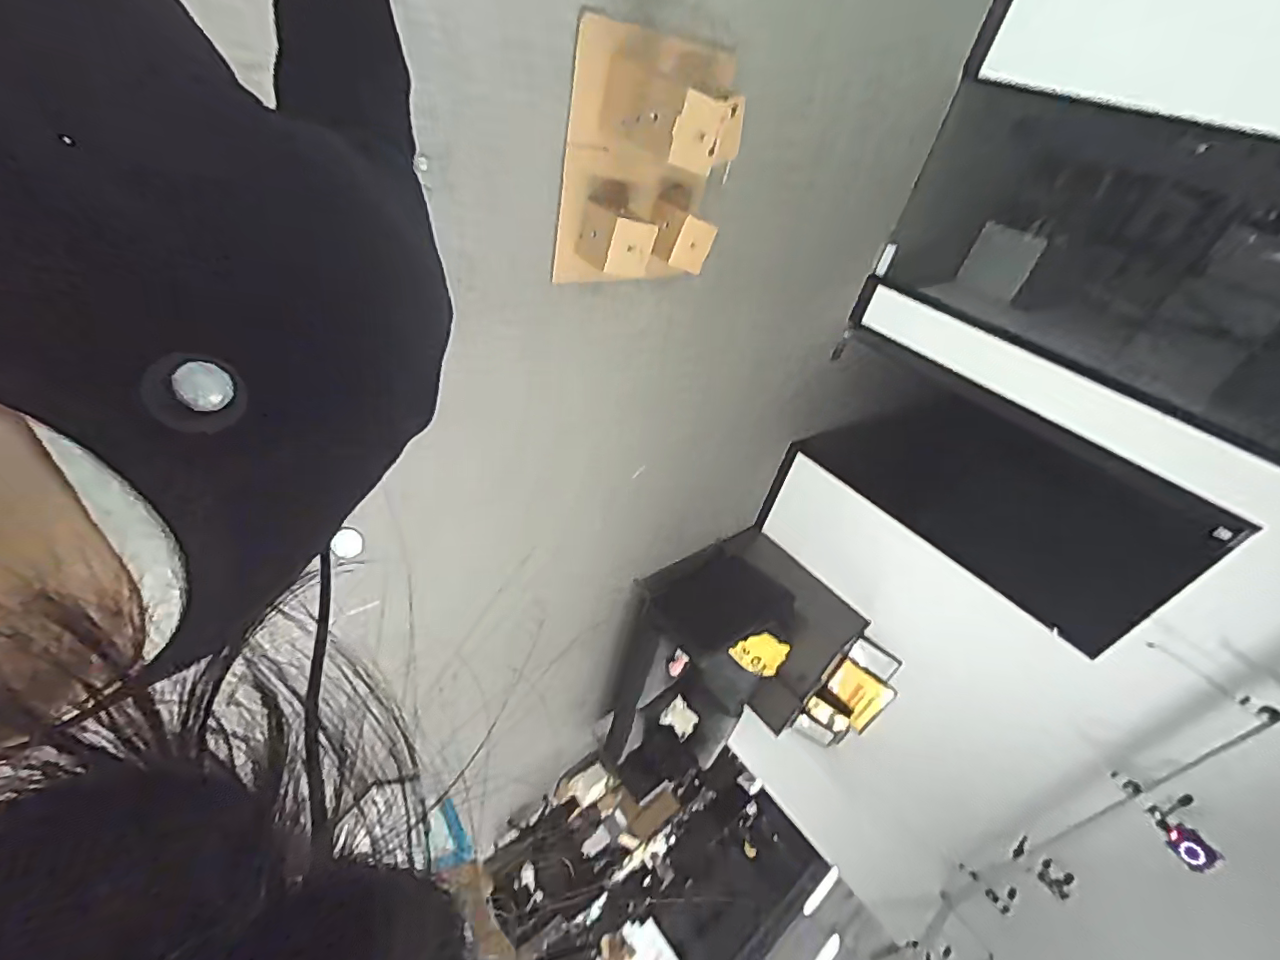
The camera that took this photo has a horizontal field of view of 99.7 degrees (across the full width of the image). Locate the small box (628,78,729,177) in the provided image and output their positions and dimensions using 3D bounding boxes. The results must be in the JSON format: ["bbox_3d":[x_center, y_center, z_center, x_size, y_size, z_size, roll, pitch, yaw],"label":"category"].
[{"bbox_3d":[0.096,-0.931,1.428,0.179,0.176,0.168,-12,136,-43],"label":"small box"}]

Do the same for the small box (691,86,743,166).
[{"bbox_3d":[0.191,-1.096,1.674,0.168,0.176,0.179,-30,146,-25],"label":"small box"}]

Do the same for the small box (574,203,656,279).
[{"bbox_3d":[-0.084,-0.758,1.714,0.179,0.176,0.168,-14,137,-43],"label":"small box"}]
